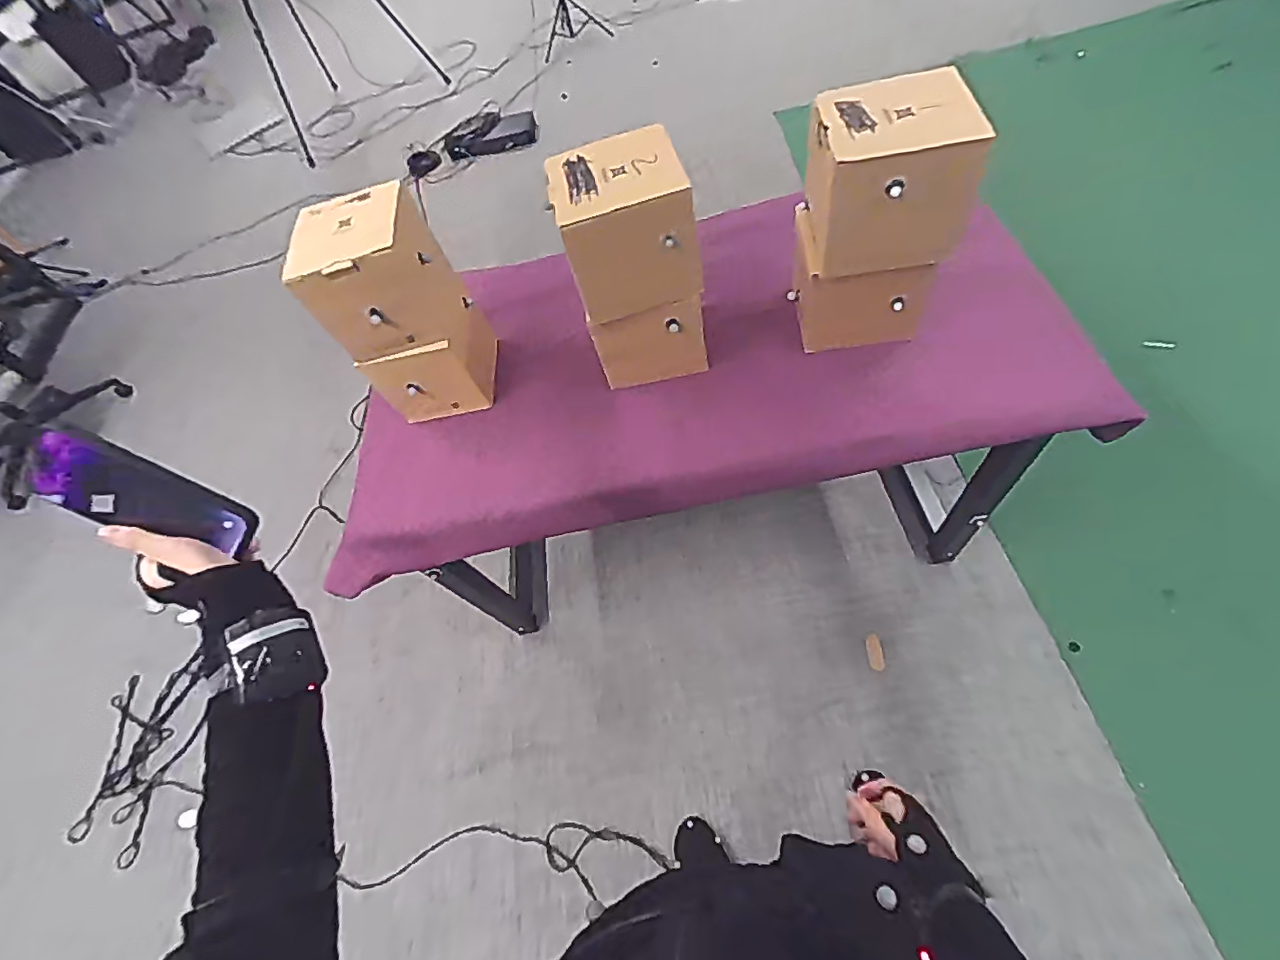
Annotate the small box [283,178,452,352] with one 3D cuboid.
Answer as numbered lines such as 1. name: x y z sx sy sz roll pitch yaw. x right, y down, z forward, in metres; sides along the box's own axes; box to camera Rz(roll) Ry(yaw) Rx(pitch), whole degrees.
1. small box: -0.406 -0.320 0.838 0.168 0.176 0.179 -15 59 4

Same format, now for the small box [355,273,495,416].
1. small box: -0.372 -0.232 0.972 0.168 0.176 0.179 -10 58 7

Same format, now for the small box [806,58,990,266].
1. small box: 0.320 -0.410 0.718 0.179 0.176 0.168 -6 59 10

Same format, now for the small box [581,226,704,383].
1. small box: 0.010 -0.289 0.913 0.179 0.176 0.168 -11 58 7

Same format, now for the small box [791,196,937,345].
1. small box: 0.343 -0.340 0.865 0.179 0.176 0.168 -6 59 10
